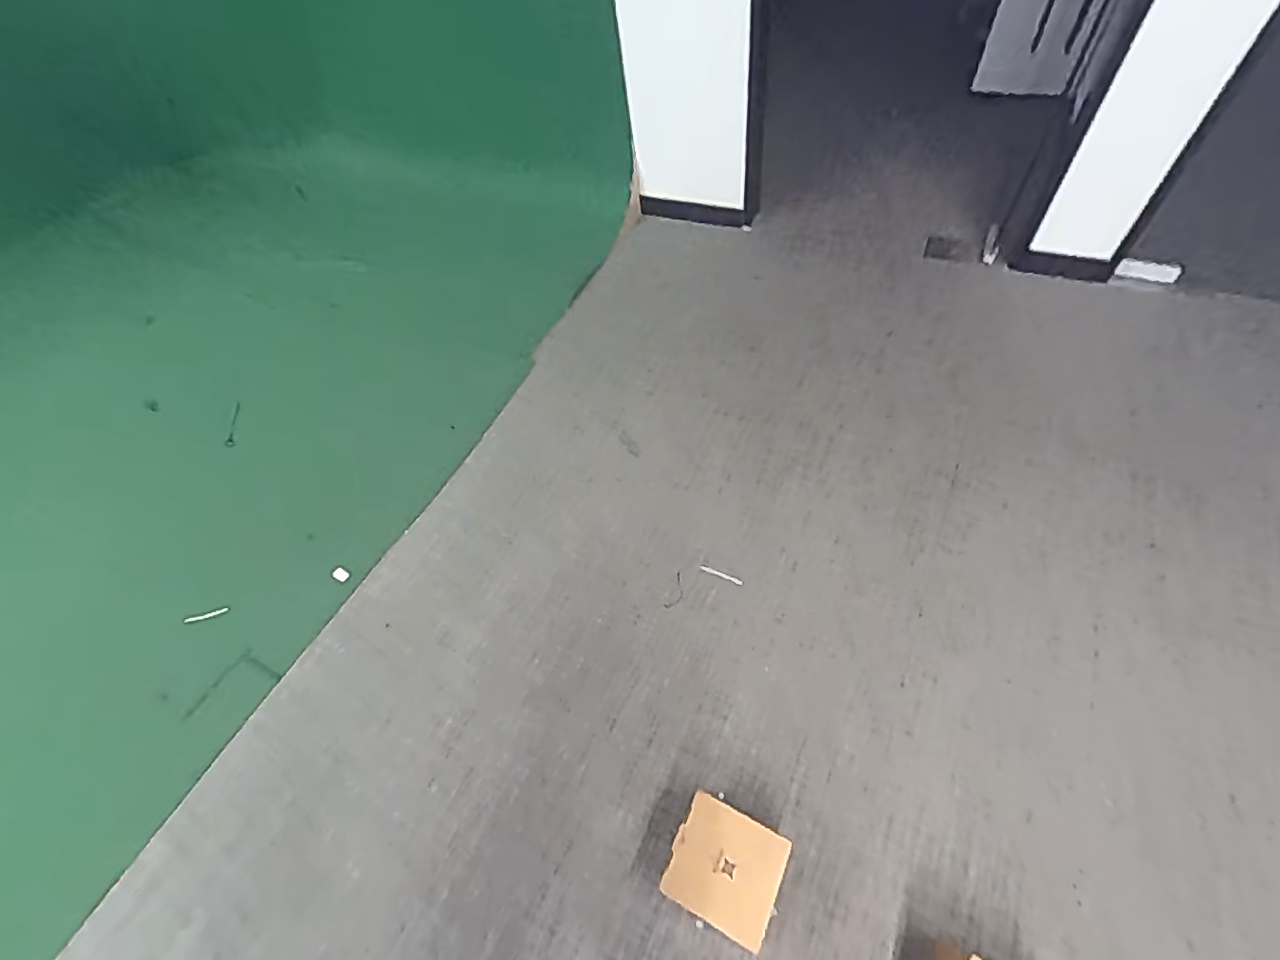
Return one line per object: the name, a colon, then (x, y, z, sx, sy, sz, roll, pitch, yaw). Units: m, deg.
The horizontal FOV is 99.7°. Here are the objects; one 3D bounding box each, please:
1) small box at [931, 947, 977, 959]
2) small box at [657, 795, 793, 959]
small box: (0.519, 0.839, 0.790, 0.168, 0.176, 0.179, 24, 61, 21)
small box: (0.150, 0.685, 0.950, 0.179, 0.176, 0.168, 19, 61, 21)
